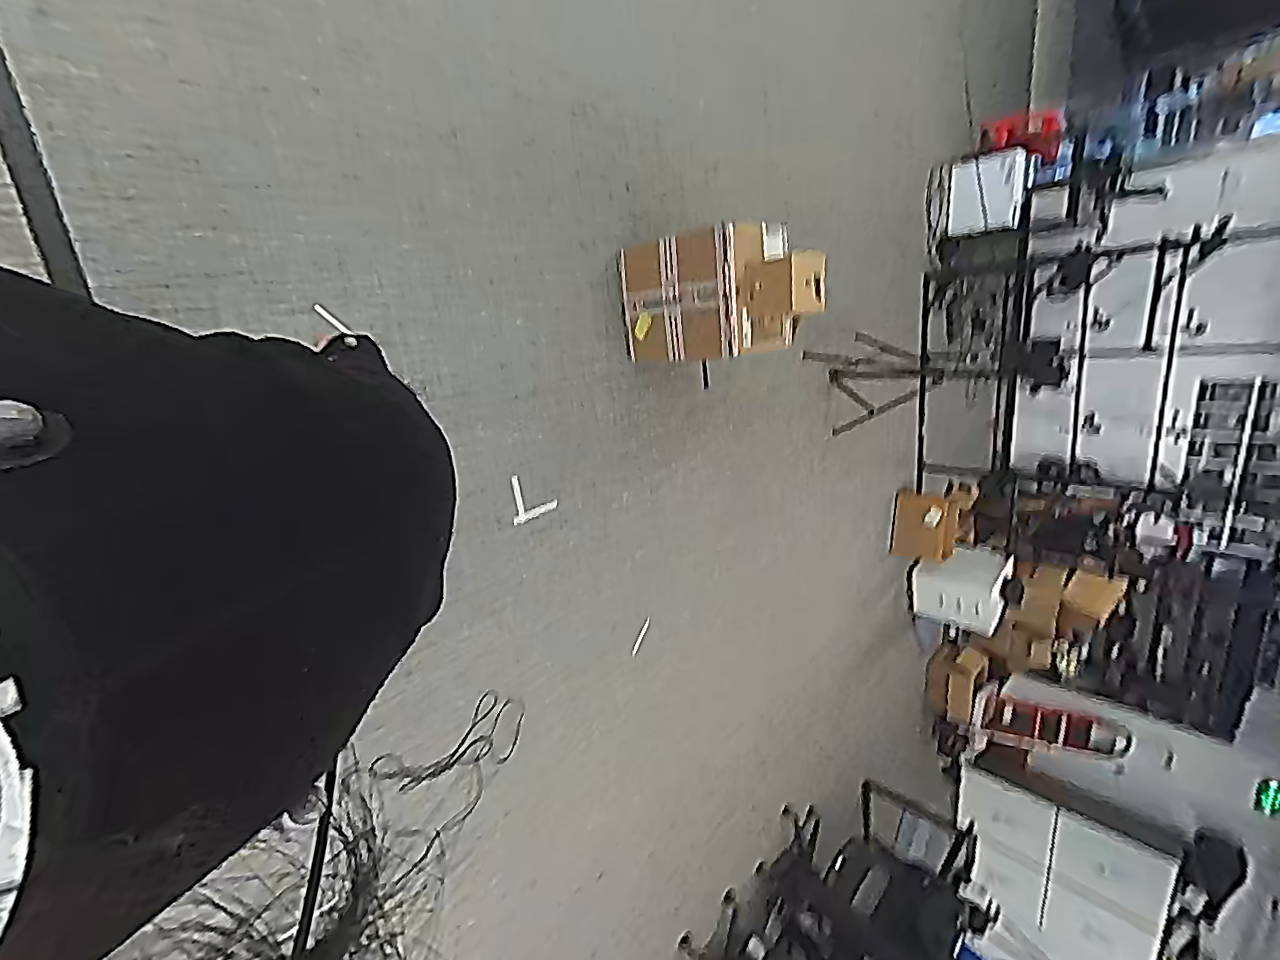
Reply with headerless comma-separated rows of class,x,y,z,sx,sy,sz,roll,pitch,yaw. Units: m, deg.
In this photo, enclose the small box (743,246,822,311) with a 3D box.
small box,0.435,-0.613,1.654,0.179,0.176,0.168,-17,109,-37
